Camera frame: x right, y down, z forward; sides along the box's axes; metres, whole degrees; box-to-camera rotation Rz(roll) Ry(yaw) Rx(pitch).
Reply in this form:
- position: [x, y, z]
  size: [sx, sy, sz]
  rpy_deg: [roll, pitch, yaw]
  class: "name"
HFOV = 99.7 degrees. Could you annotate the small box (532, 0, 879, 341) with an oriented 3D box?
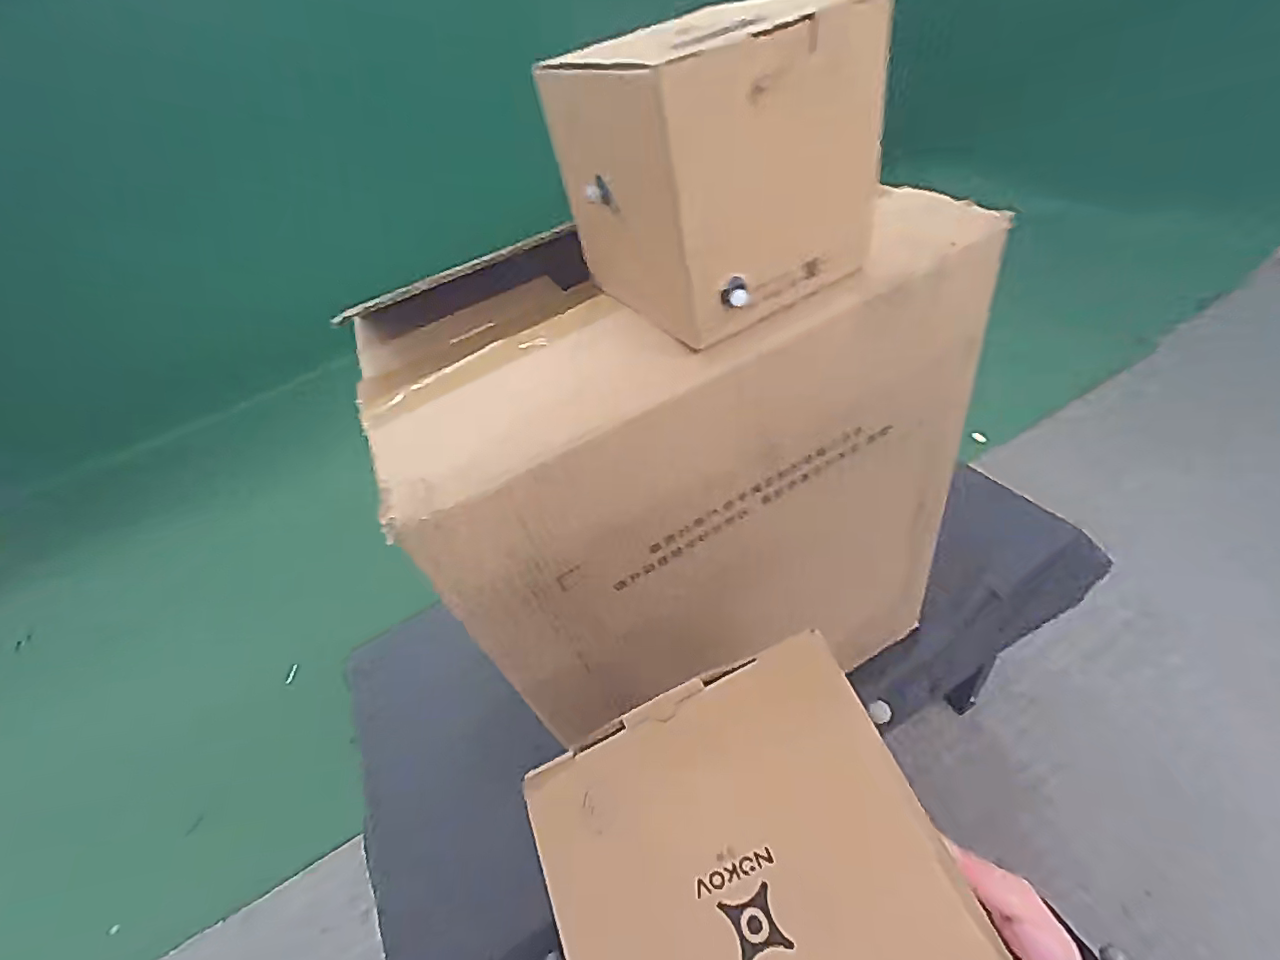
- position: [0.048, -0.226, 0.405]
  size: [0.168, 0.176, 0.179]
  rpy_deg: [-29, 44, -13]
  class: "small box"
